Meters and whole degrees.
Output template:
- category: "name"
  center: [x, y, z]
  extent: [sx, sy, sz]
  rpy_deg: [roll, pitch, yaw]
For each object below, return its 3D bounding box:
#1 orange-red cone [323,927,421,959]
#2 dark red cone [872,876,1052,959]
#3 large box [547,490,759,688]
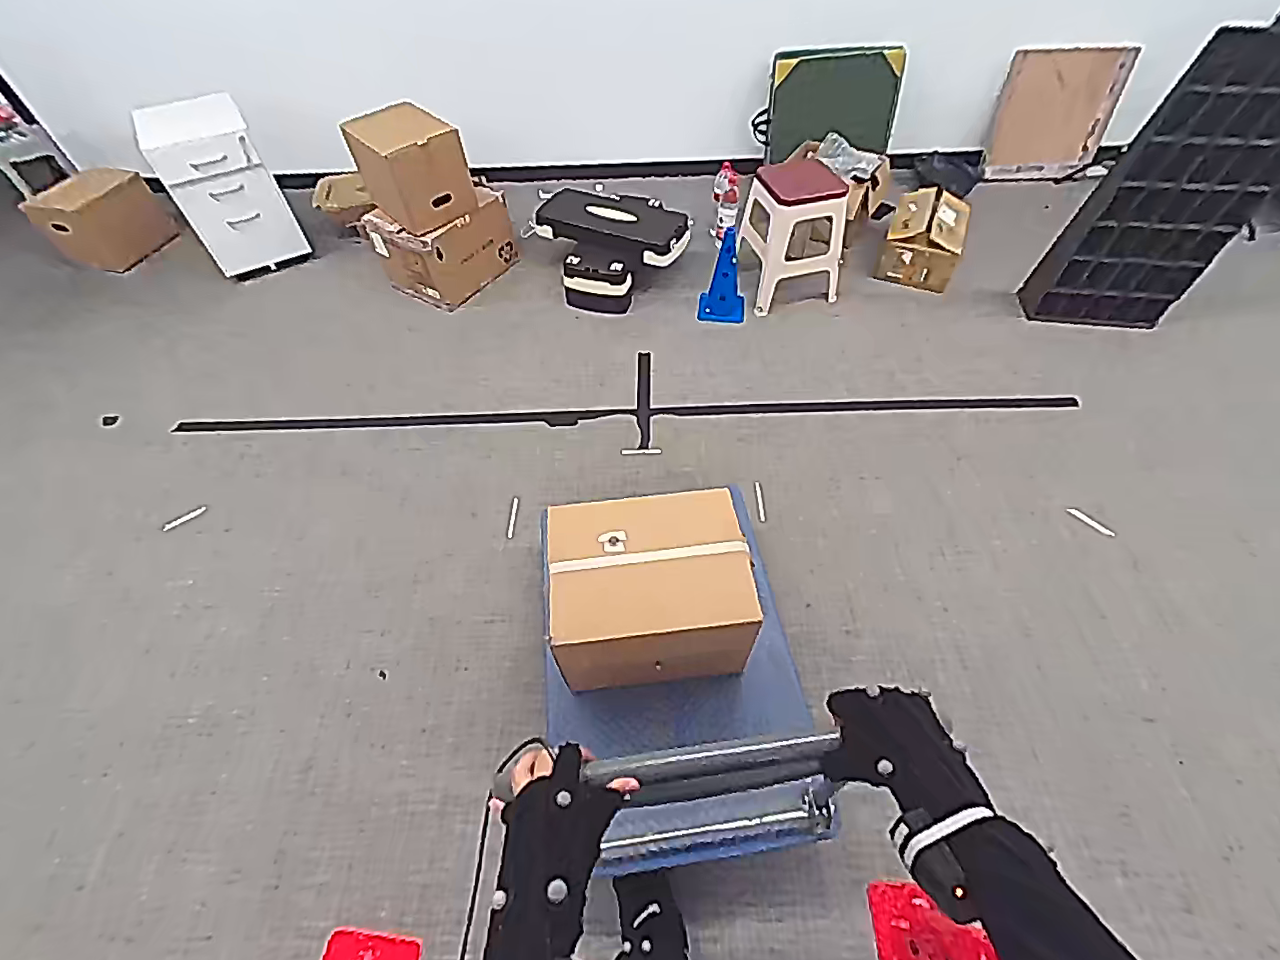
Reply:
- category: "orange-red cone"
  center: [-0.553, 0.909, 0.926]
  extent: [0.198, 0.360, 0.199]
  rpy_deg: [6, 52, 5]
- category: "dark red cone"
  center: [0.577, 0.812, 0.939]
  extent: [0.201, 0.394, 0.202]
  rpy_deg: [0, 53, 0]
- category: "large box"
  center: [0.019, 0.253, 1.223]
  extent: [0.408, 0.320, 0.320]
  rpy_deg: [-7, 53, -2]
